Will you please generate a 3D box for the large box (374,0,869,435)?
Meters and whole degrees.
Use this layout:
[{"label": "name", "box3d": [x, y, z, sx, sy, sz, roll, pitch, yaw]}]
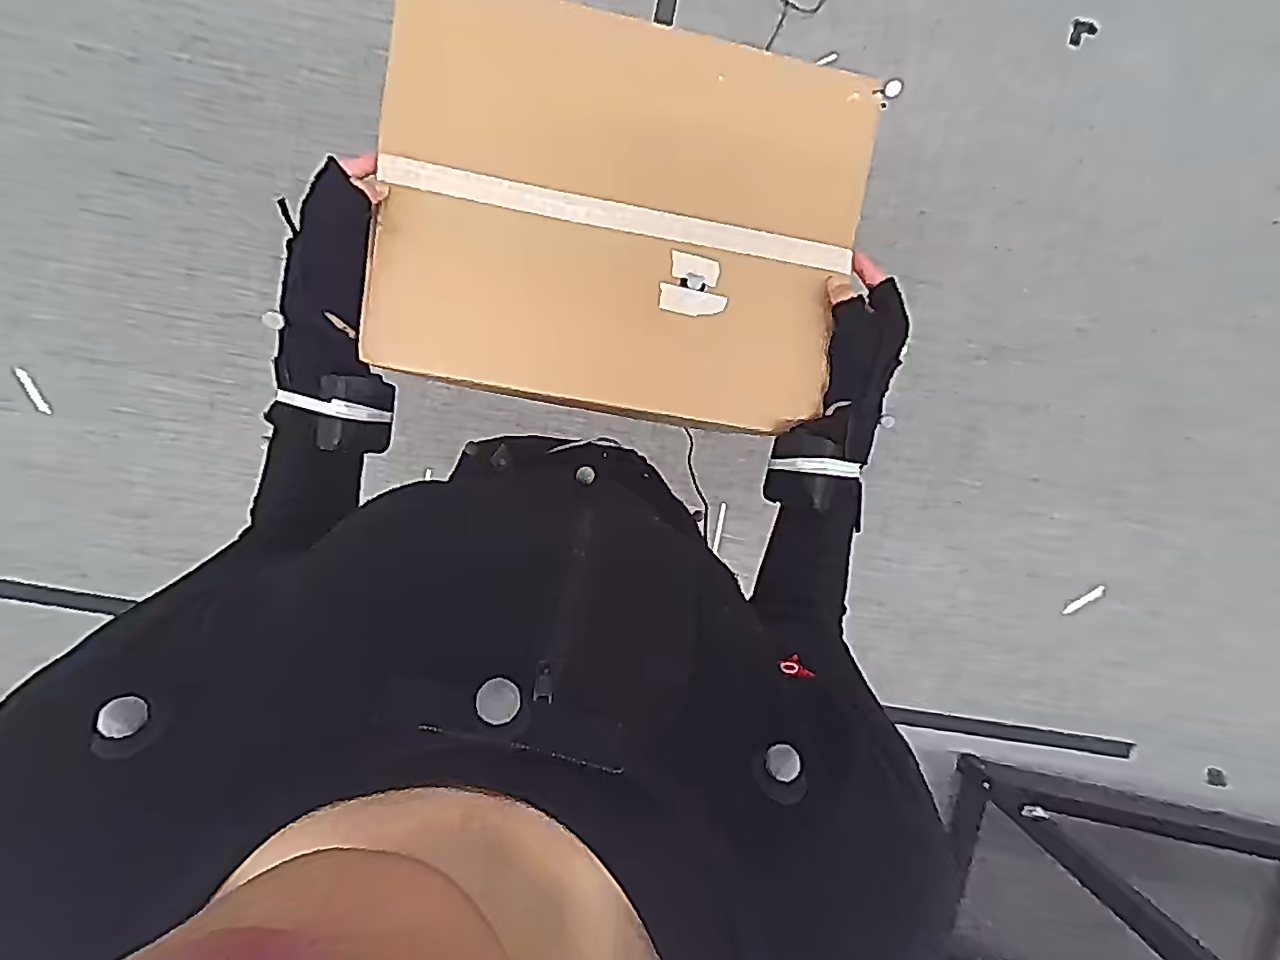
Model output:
[{"label": "large box", "box3d": [-0.030, -0.235, 0.617, 0.408, 0.320, 0.320, 9, 96, -7]}]
